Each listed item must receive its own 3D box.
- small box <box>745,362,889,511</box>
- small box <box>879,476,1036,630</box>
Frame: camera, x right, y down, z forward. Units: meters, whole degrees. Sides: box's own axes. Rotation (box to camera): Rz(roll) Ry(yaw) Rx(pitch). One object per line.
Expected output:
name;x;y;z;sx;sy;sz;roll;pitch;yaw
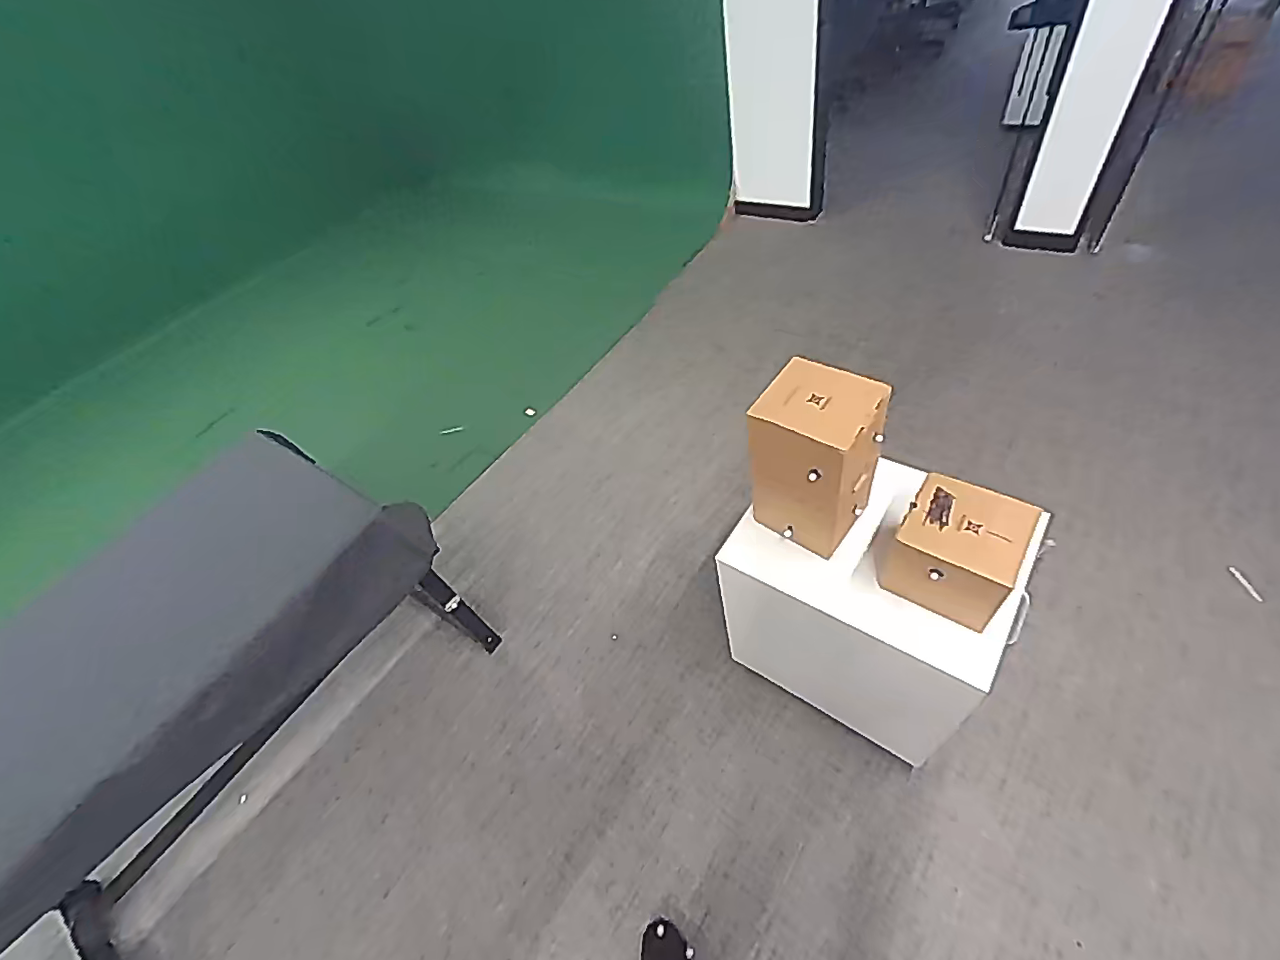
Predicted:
small box;0.300;-0.072;0.938;0.179;0.176;0.168;25;58;30
small box;0.536;0.129;0.934;0.179;0.176;0.168;24;59;28
